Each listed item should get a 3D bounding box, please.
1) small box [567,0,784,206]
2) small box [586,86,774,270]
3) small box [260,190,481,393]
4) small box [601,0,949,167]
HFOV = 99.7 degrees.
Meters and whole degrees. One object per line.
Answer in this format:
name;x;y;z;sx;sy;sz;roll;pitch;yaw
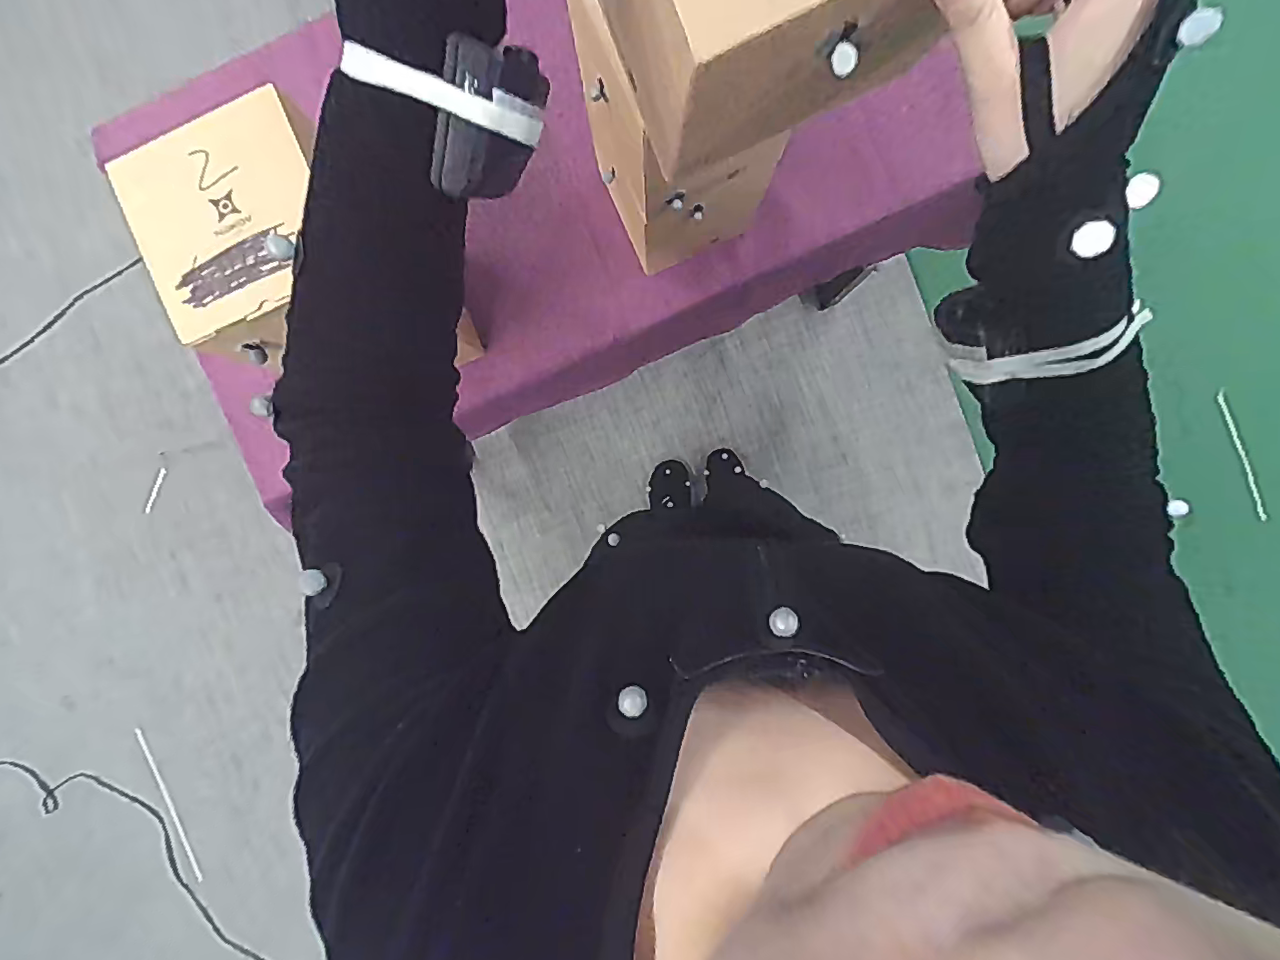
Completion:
small box;0.042;-0.400;0.525;0.168;0.176;0.179;-25;90;2
small box;0.047;-0.404;0.689;0.168;0.176;0.179;-24;90;4
small box;-0.336;-0.230;0.708;0.168;0.176;0.179;-23;92;3
small box;0.064;-0.293;0.272;0.179;0.176;0.168;-23;104;4
